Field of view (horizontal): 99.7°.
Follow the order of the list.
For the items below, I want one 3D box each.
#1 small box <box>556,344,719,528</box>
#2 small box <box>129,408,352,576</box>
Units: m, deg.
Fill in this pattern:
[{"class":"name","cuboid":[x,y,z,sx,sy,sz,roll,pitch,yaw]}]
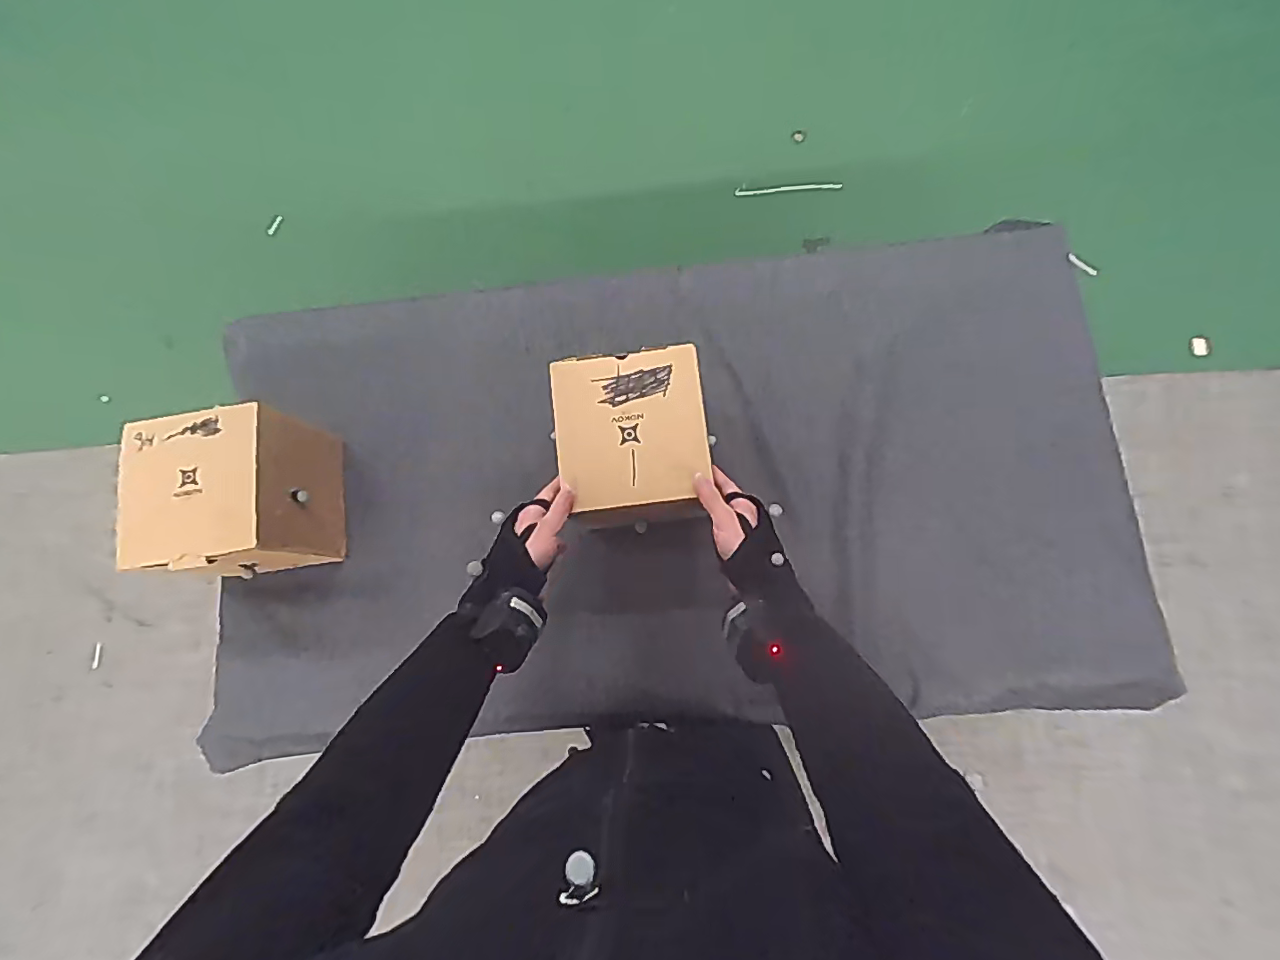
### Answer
[{"class":"small box","cuboid":[0.000,-0.043,0.664,0.168,0.176,0.179,-7,79,4]},{"class":"small box","cuboid":[-0.495,0.025,0.694,0.168,0.176,0.179,-9,78,3]}]
